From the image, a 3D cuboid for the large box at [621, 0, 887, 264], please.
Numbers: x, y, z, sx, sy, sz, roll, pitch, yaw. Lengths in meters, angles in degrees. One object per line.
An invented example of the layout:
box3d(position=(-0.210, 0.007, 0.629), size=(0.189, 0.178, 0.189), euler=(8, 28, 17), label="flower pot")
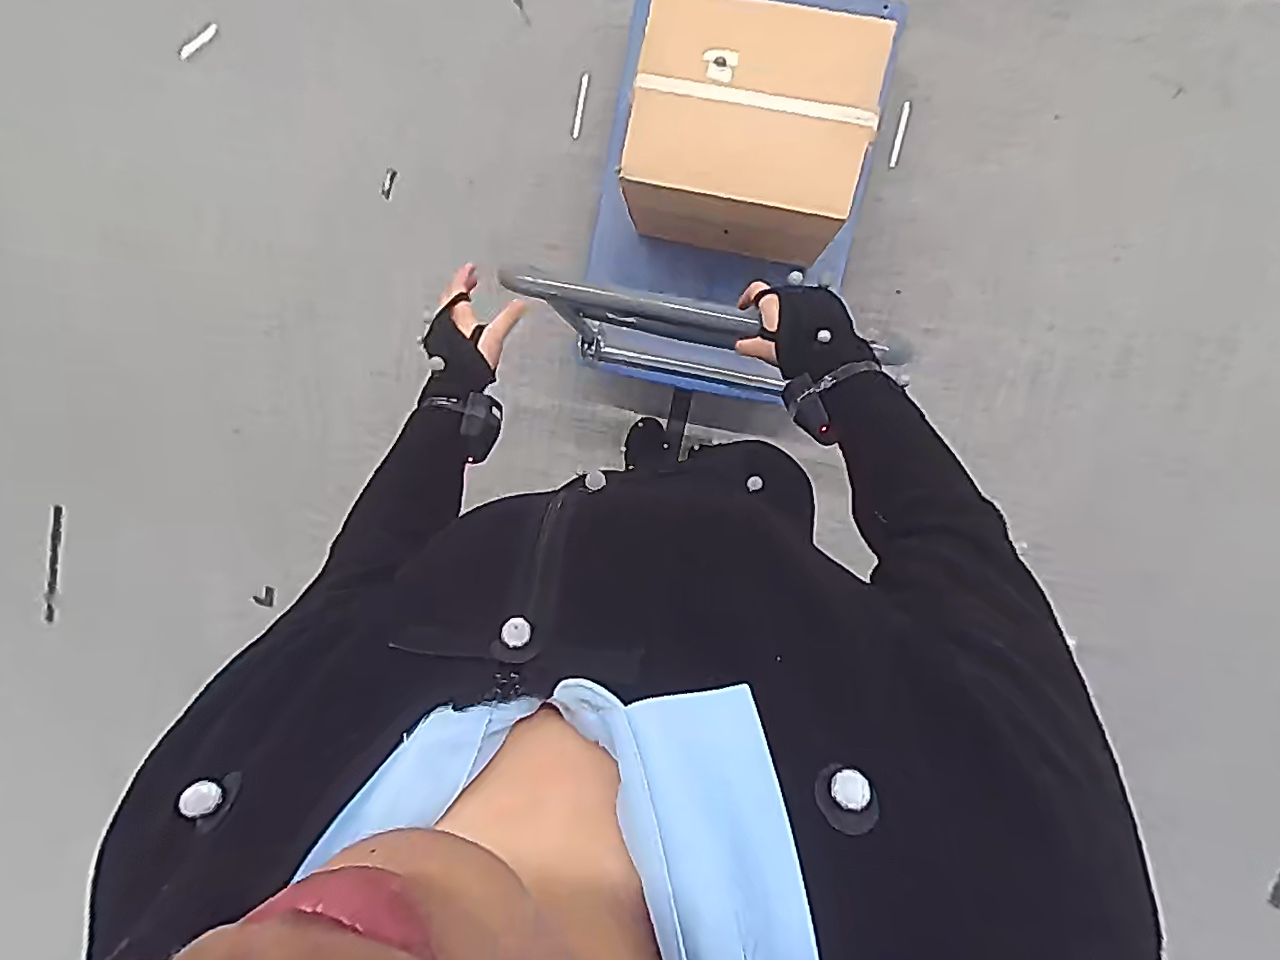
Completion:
box3d(position=(0.206, -0.653, 1.074), size=(0.408, 0.320, 0.320), euler=(13, 97, 5), label="large box")
